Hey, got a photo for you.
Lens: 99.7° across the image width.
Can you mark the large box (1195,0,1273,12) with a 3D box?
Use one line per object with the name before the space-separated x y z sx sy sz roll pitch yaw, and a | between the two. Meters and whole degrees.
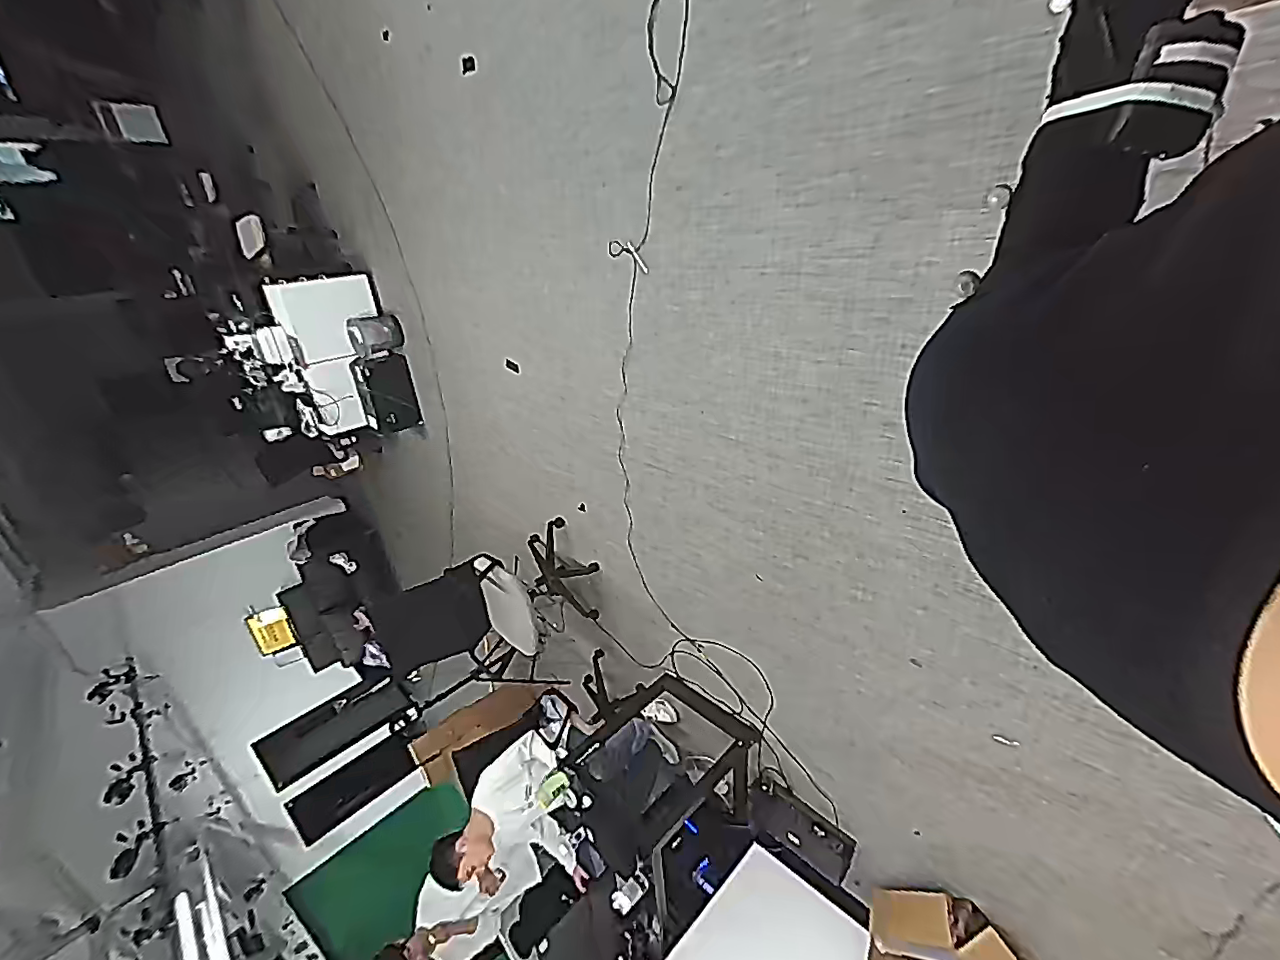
large box | 0.564 -0.477 0.240 0.408 0.320 0.320 17 131 42
